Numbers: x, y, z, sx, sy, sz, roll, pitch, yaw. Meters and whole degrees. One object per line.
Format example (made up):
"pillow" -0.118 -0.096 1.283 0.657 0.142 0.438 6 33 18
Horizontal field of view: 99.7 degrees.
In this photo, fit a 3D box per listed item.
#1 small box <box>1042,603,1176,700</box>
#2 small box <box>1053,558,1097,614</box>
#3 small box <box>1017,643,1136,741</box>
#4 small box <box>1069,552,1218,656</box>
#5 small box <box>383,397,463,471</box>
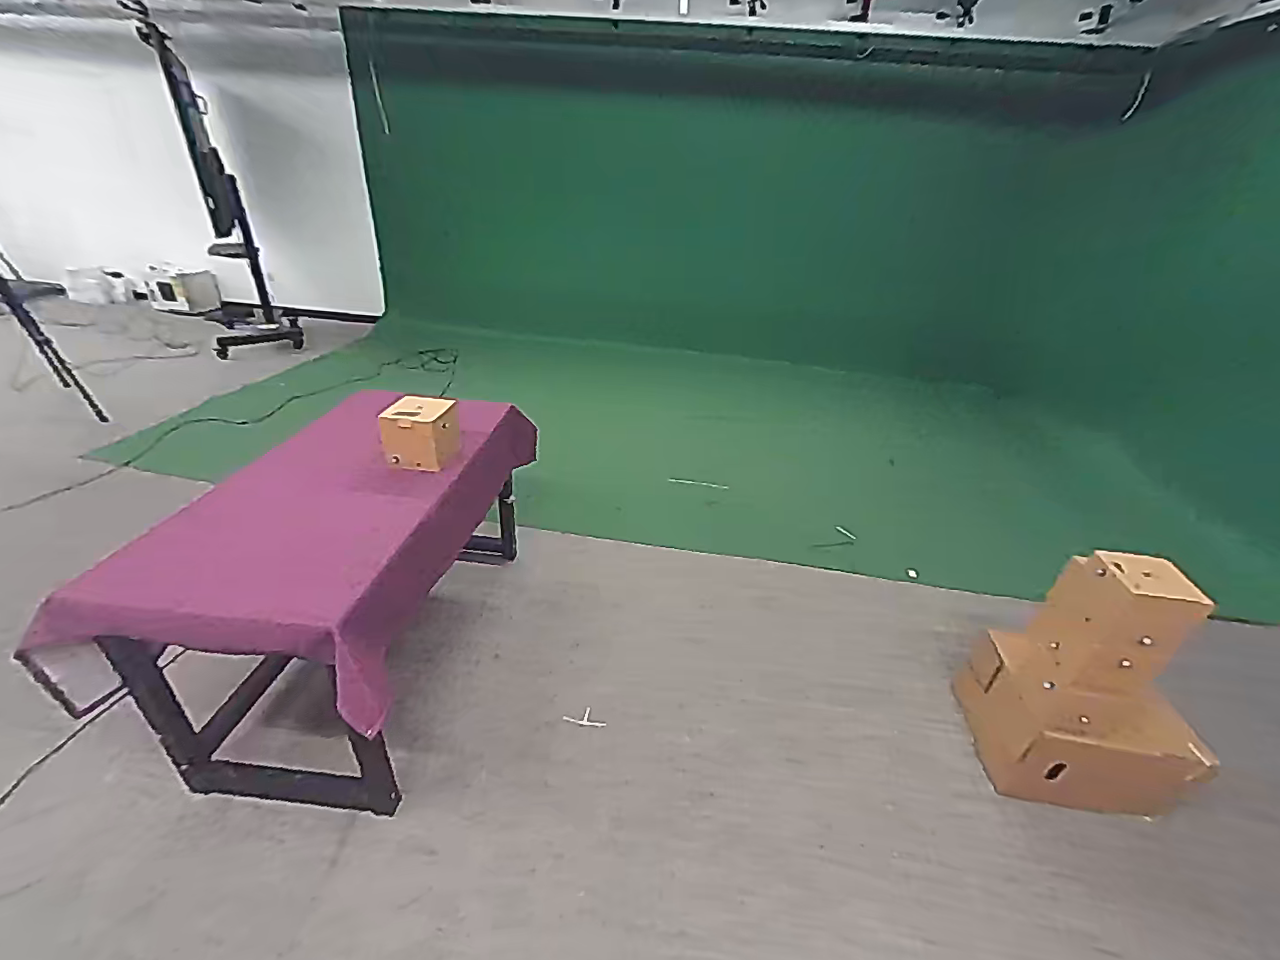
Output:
"small box" 1.206 0.446 1.407 0.179 0.176 0.168 8 31 7
"small box" 1.377 0.357 1.592 0.168 0.176 0.179 9 29 2
"small box" 1.189 0.586 1.489 0.168 0.176 0.179 9 31 6
"small box" 1.216 0.304 1.324 0.179 0.176 0.168 9 31 6
"small box" -0.662 -0.141 1.676 0.168 0.176 0.179 7 29 4
